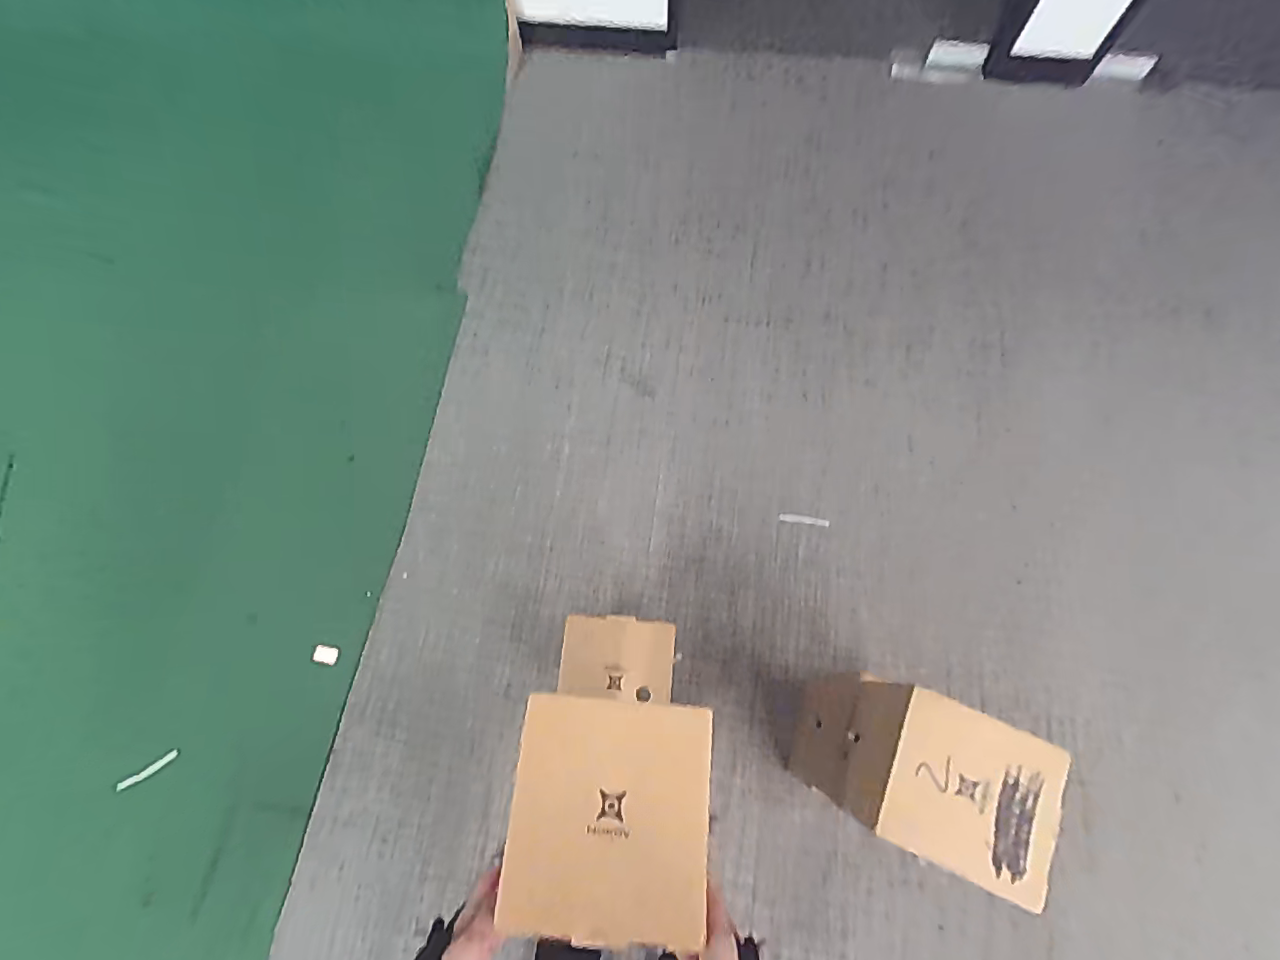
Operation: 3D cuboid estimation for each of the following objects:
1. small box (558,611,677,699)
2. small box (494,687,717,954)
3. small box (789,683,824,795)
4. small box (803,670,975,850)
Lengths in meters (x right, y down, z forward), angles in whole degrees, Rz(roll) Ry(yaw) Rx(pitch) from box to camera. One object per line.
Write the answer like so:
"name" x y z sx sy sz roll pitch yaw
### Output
"small box" -0.033 0.310 0.848 0.168 0.176 0.179 4 71 3
"small box" -0.025 0.298 0.510 0.168 0.176 0.179 5 67 0
"small box" 0.377 0.470 0.957 0.168 0.176 0.179 17 72 7
"small box" 0.358 0.401 0.809 0.168 0.176 0.179 21 72 8
